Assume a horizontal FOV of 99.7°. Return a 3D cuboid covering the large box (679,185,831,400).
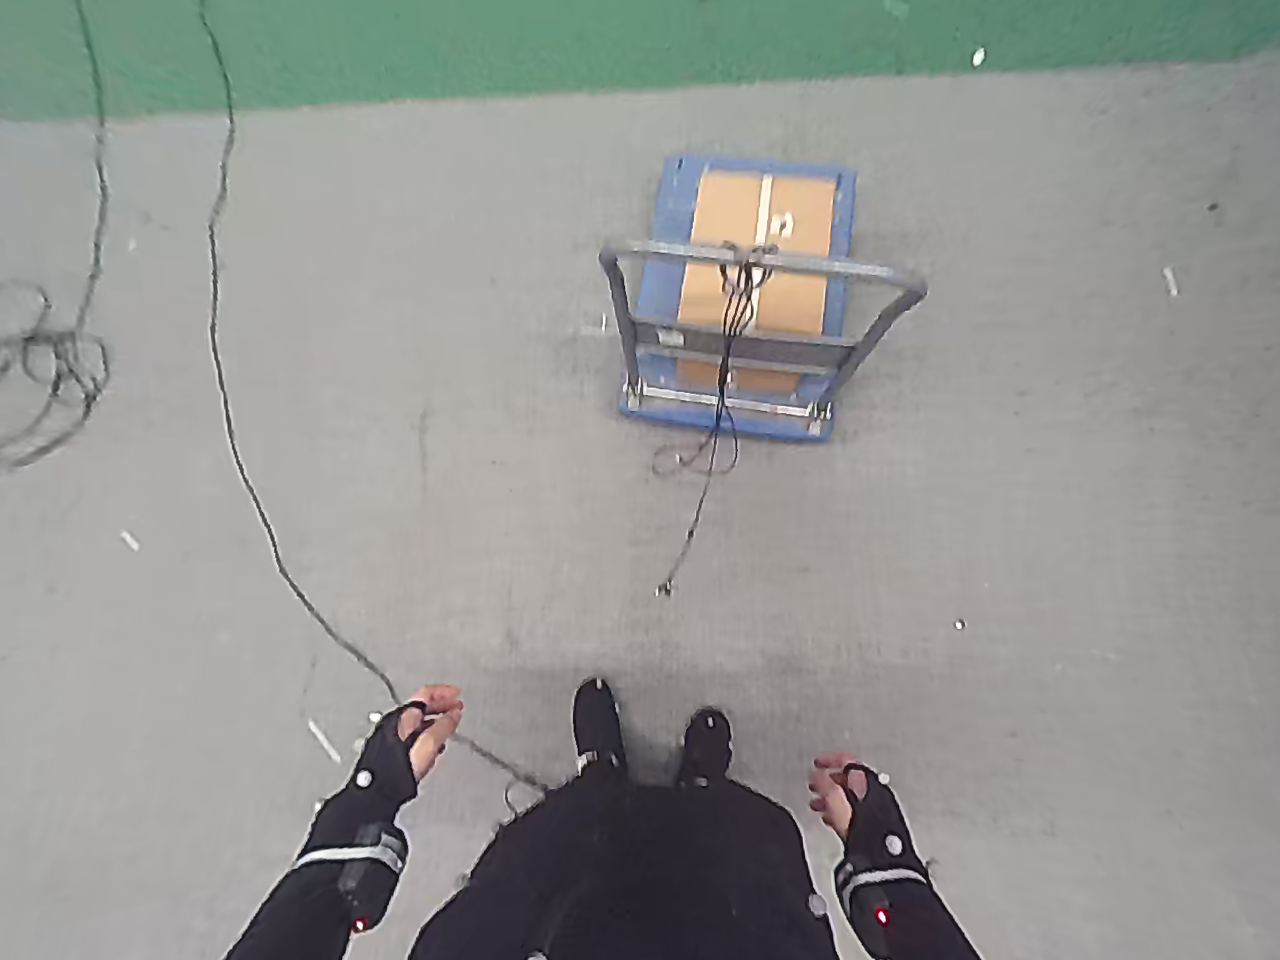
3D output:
[{"bbox_3d":[0.276,-0.452,1.356,0.320,0.320,0.408,8,74,6],"label":"large box"}]
